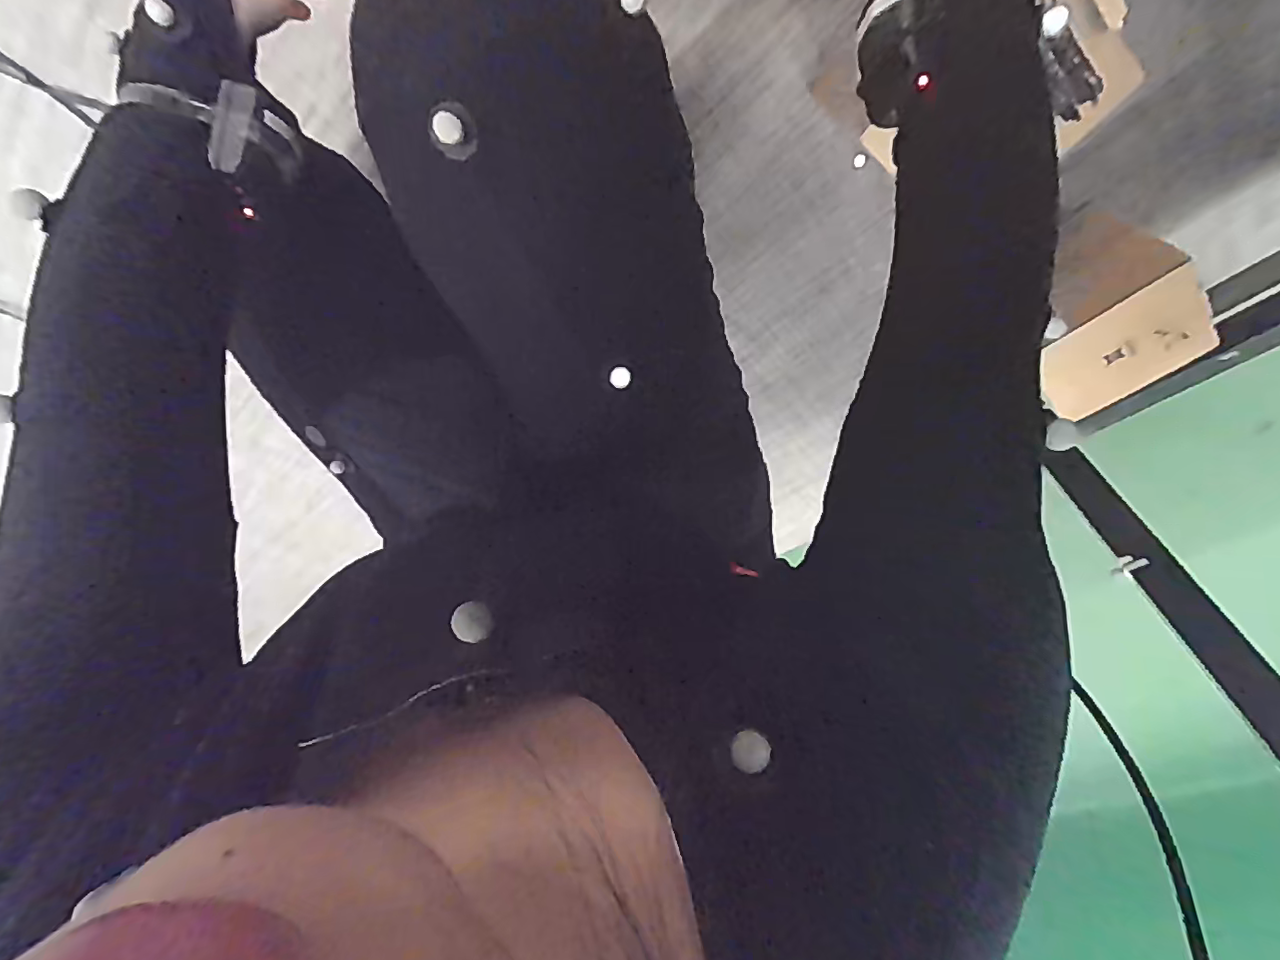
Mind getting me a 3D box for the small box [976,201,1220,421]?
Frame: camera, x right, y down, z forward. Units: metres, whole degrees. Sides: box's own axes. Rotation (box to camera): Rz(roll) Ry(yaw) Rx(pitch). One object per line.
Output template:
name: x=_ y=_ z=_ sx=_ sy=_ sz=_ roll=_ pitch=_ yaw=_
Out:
small box: x=0.579 y=-0.218 z=0.708 sx=0.168 sy=0.176 sz=0.179 roll=31 pitch=127 yaw=-32
